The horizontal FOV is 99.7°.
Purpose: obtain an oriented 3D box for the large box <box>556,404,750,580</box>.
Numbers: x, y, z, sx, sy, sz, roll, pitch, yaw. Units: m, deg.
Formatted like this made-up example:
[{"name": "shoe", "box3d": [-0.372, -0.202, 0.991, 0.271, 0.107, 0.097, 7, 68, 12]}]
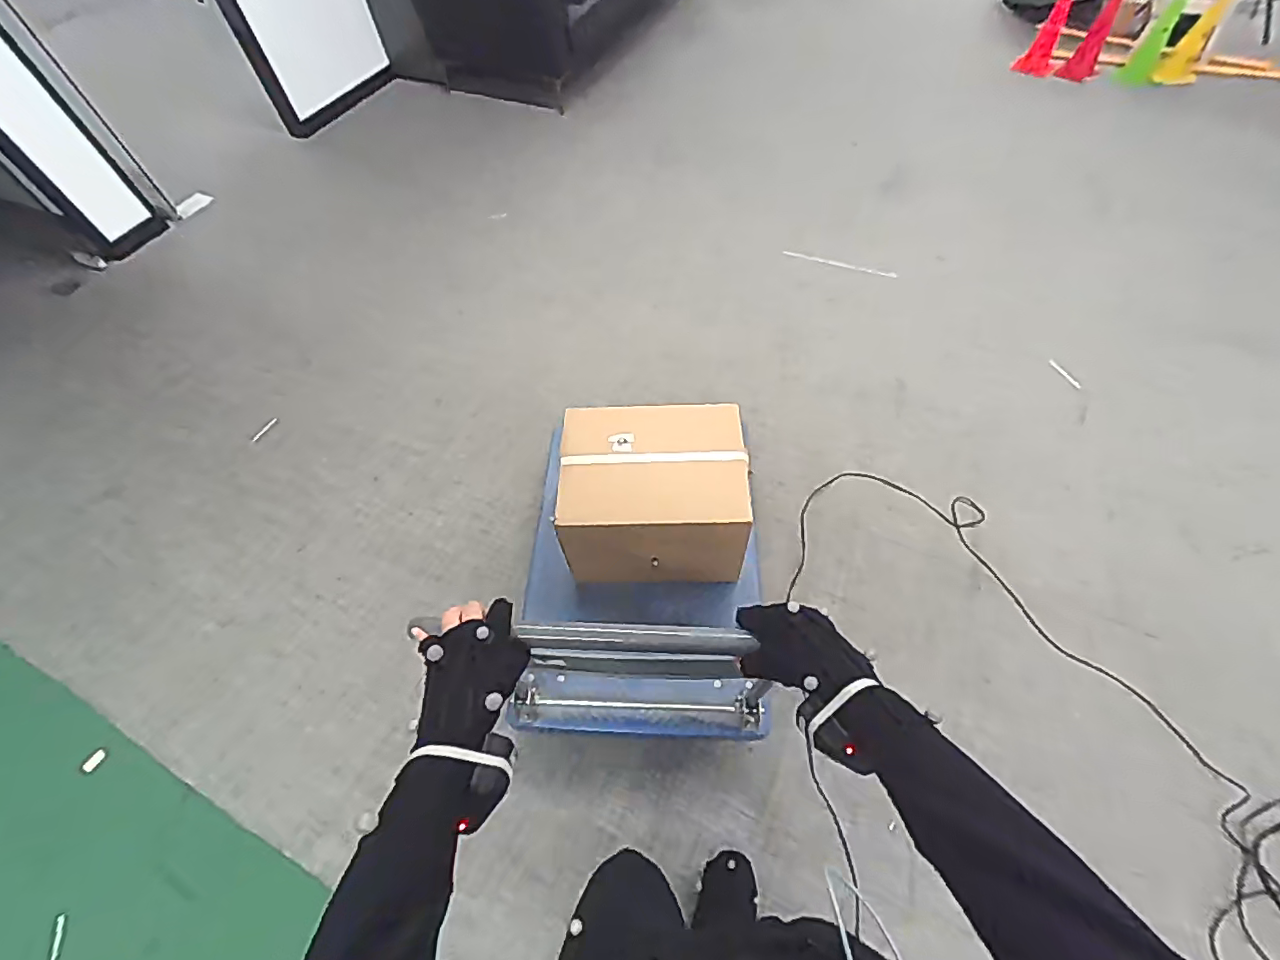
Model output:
[{"name": "large box", "box3d": [0.033, 0.040, 1.302, 0.408, 0.320, 0.320, -2, 57, 3]}]
